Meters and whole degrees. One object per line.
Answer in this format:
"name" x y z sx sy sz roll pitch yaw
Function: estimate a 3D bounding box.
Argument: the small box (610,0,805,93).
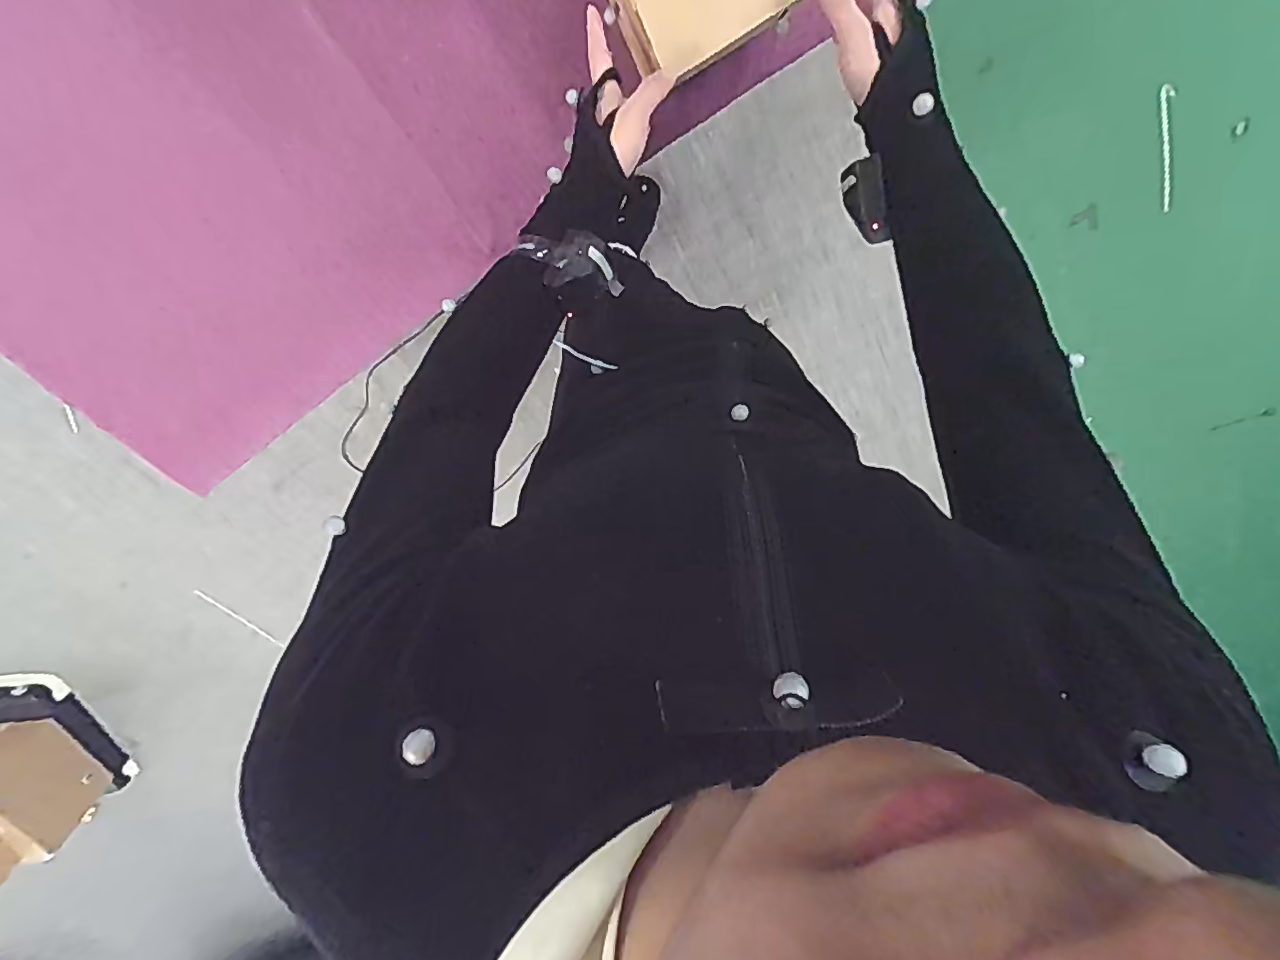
"small box" 0.057 -0.505 0.513 0.179 0.176 0.168 -25 119 12
